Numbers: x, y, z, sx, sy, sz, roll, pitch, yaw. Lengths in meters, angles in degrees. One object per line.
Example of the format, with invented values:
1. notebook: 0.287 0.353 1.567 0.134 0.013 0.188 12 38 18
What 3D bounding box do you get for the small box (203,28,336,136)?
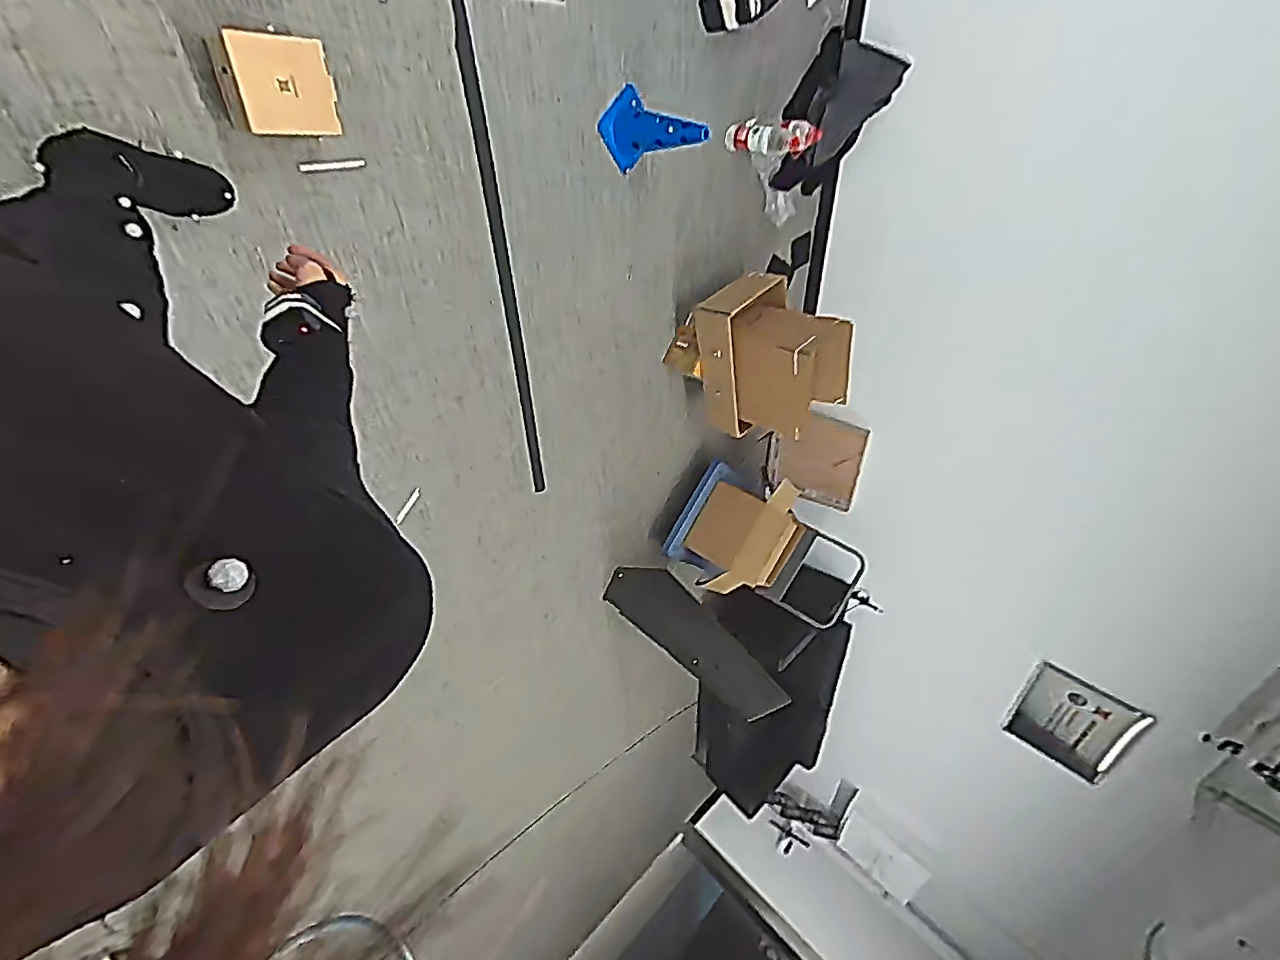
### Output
1. small box: -0.778 -0.821 1.131 0.179 0.176 0.168 -27 133 -37
